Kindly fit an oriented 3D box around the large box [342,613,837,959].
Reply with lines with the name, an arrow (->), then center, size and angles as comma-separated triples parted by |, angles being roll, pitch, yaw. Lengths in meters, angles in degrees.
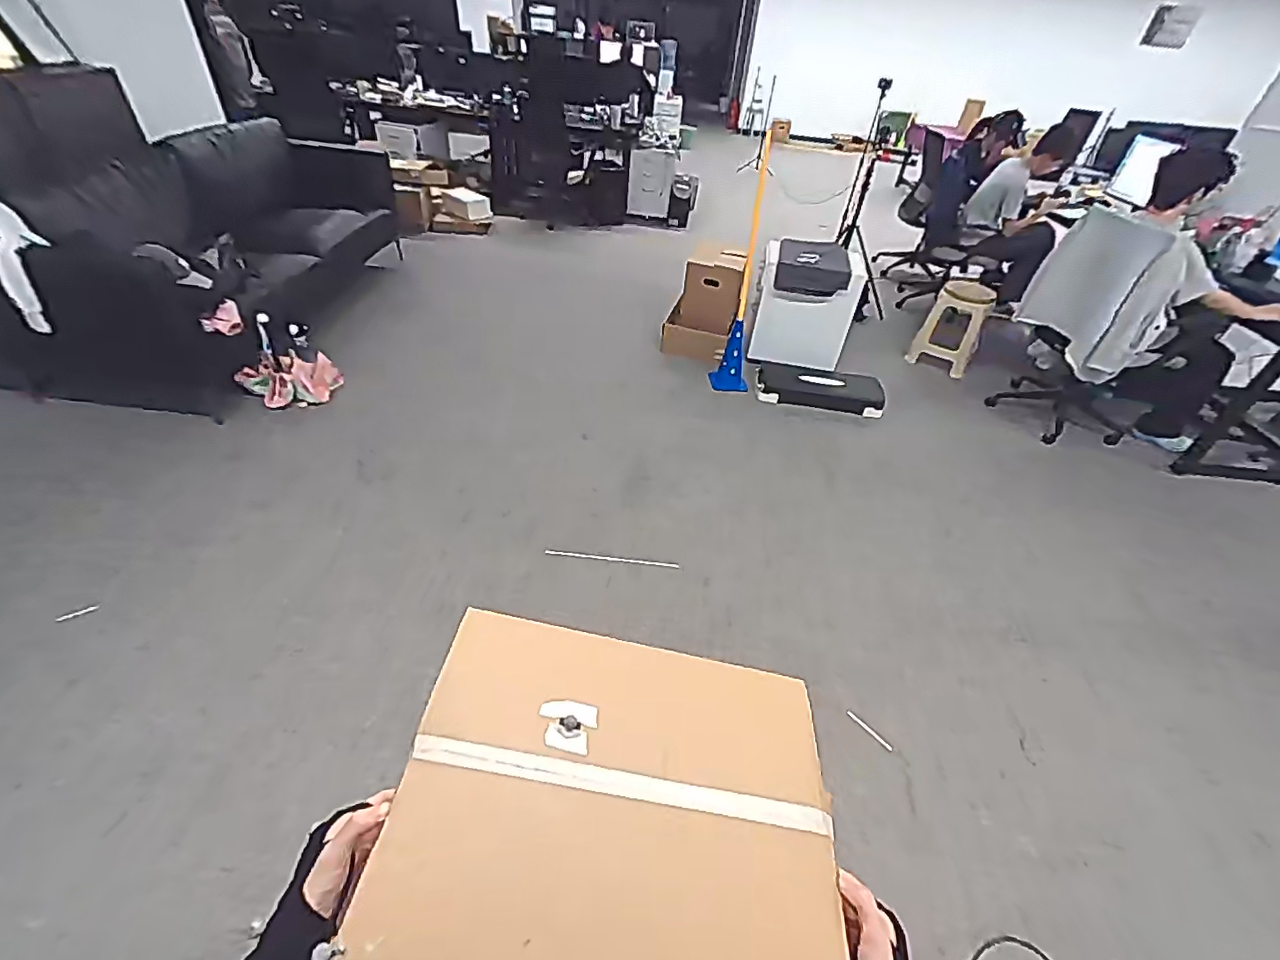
large box -> -0.046, 0.400, 0.622 | 0.408, 0.320, 0.320 | 13, 41, -5
